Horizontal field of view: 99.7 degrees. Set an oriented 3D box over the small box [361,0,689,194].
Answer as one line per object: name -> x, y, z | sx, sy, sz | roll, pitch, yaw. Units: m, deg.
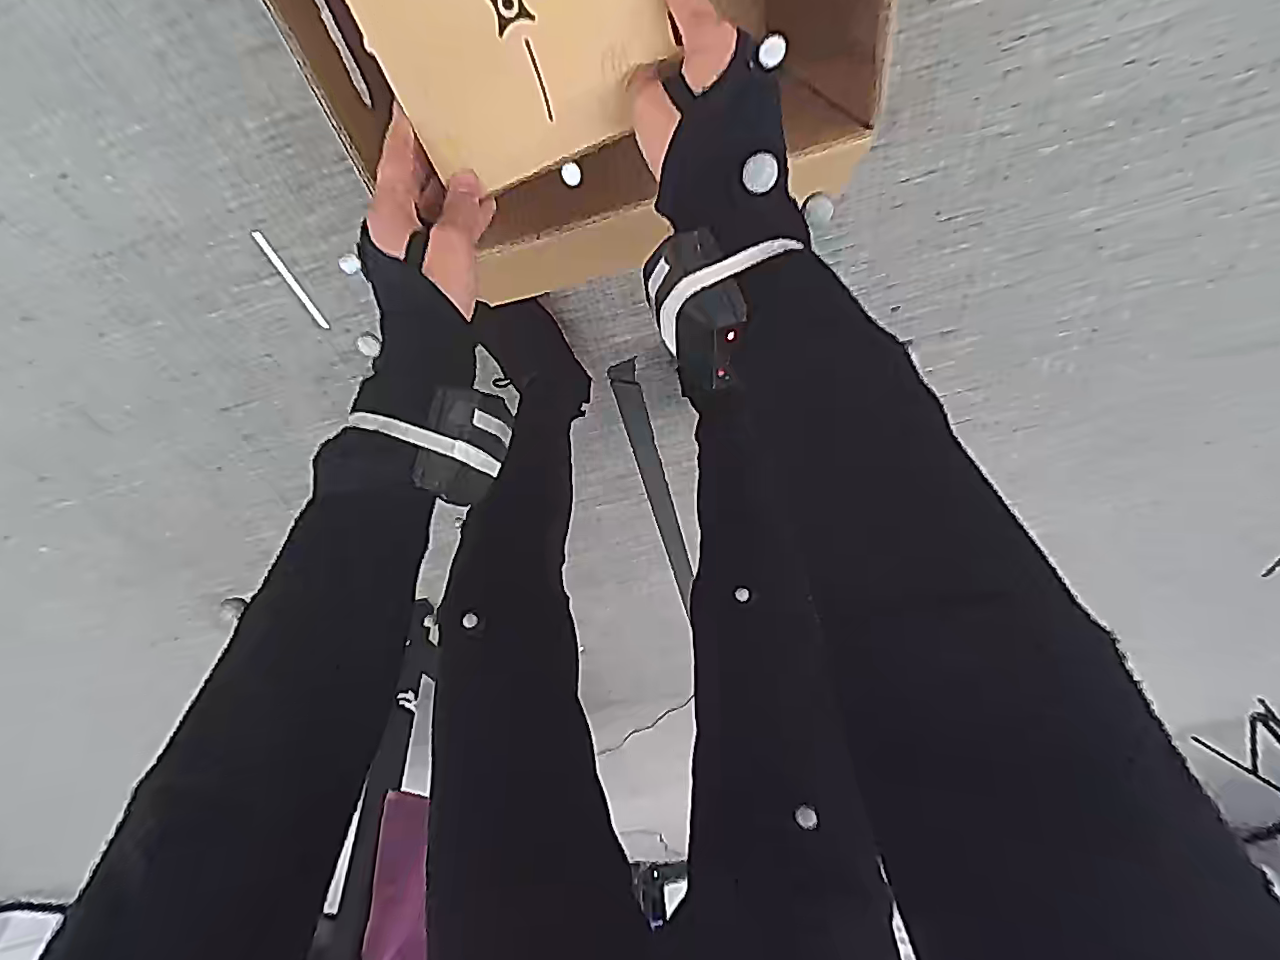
small box -> -0.081, -0.318, 0.369 | 0.168, 0.176, 0.179 | -20, 121, 6
